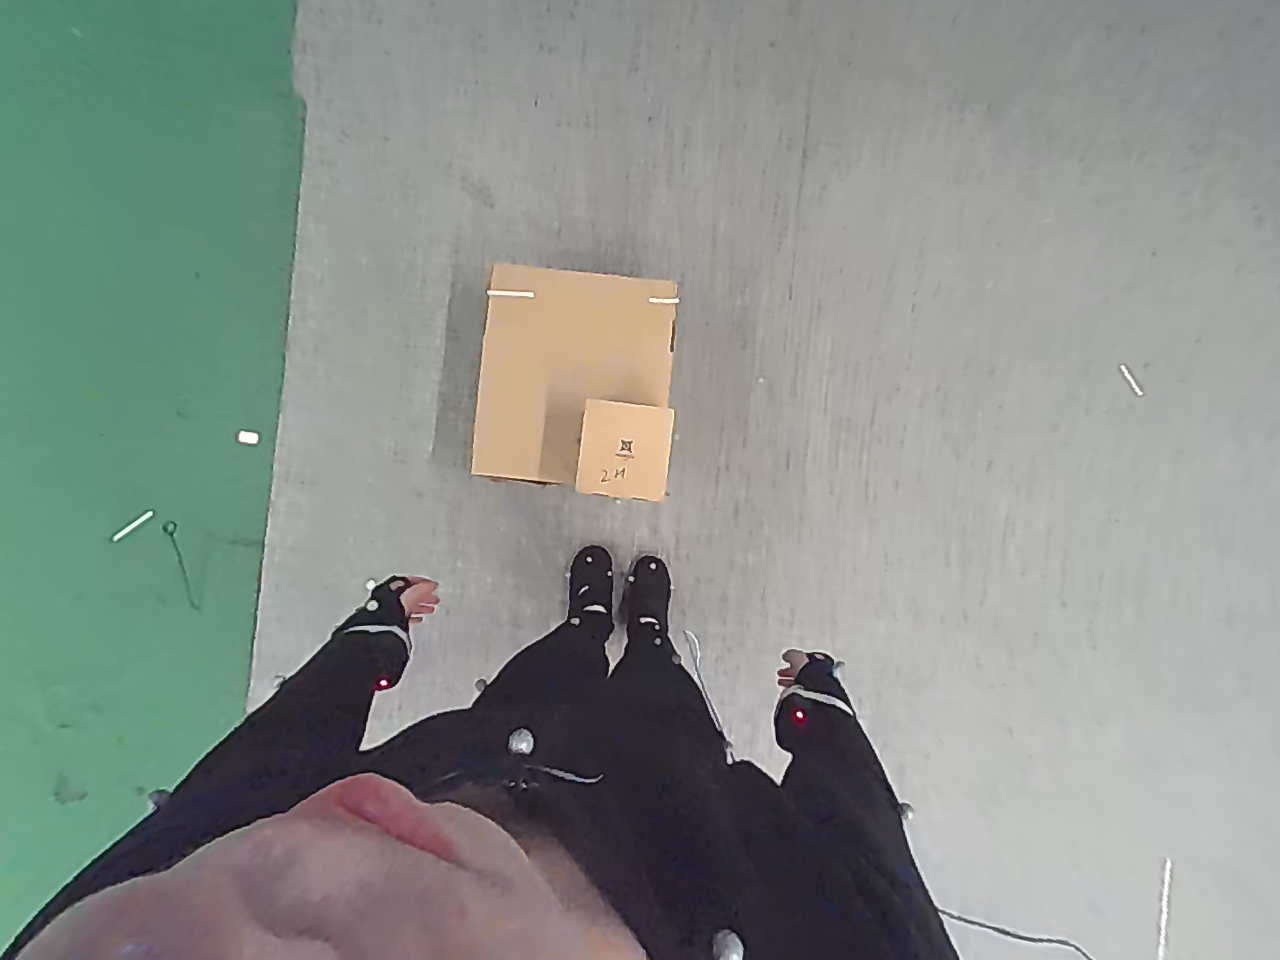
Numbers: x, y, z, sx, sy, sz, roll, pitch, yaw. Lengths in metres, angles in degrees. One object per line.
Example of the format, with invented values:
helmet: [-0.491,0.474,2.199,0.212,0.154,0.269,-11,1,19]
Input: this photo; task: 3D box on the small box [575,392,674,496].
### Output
small box: [-0.032,-0.064,1.065,0.168,0.176,0.179,7,89,-2]
